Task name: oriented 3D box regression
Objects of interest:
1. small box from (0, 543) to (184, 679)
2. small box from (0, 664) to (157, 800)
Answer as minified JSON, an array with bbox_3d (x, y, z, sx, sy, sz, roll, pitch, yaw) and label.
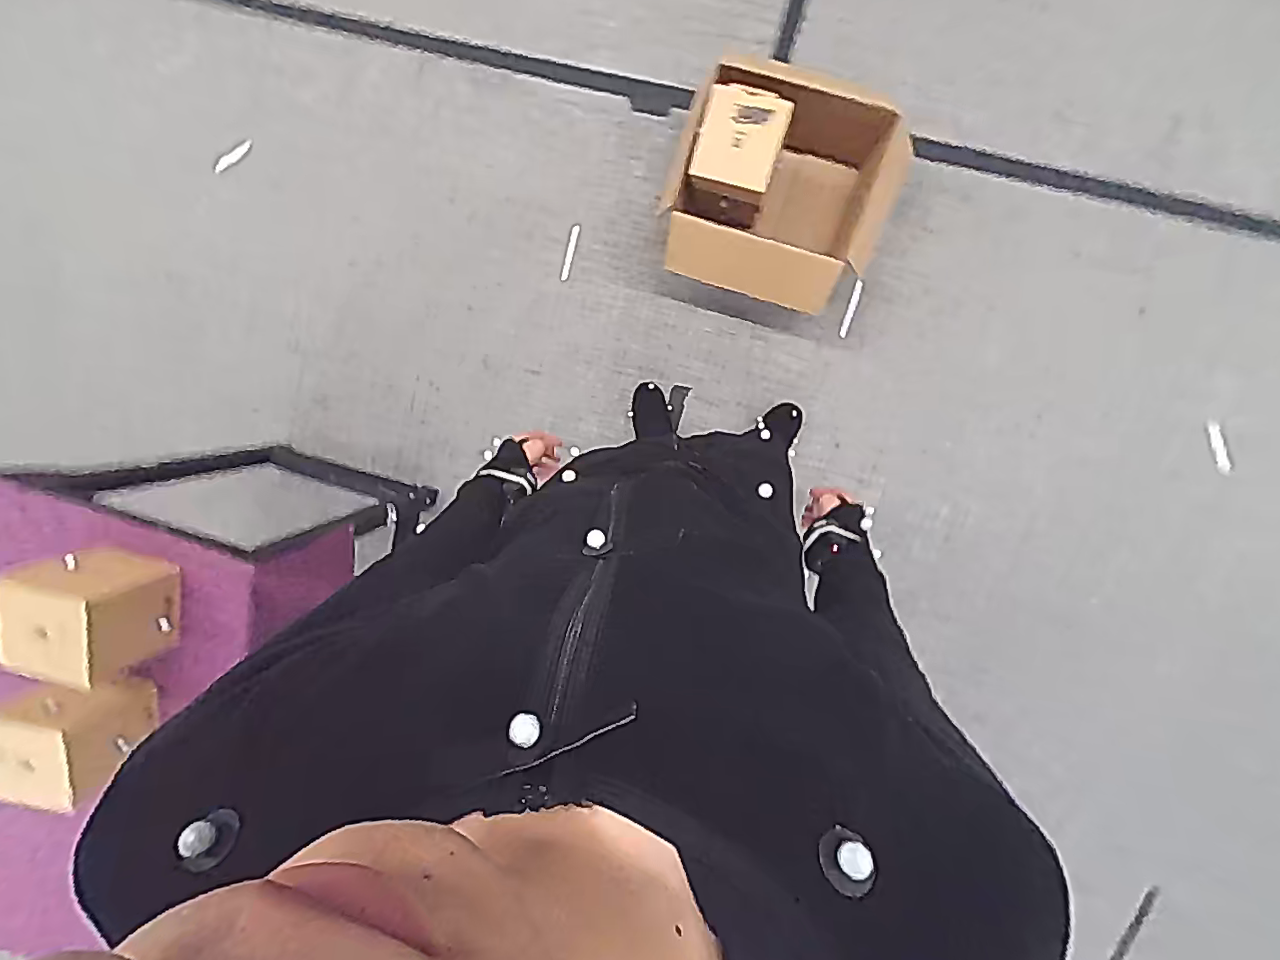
[{"bbox_3d":[-0.991,0.227,0.987,0.179,0.176,0.168,13,103,5],"label":"small box"},{"bbox_3d":[-1.086,0.475,1.047,0.179,0.176,0.168,8,101,7],"label":"small box"}]
